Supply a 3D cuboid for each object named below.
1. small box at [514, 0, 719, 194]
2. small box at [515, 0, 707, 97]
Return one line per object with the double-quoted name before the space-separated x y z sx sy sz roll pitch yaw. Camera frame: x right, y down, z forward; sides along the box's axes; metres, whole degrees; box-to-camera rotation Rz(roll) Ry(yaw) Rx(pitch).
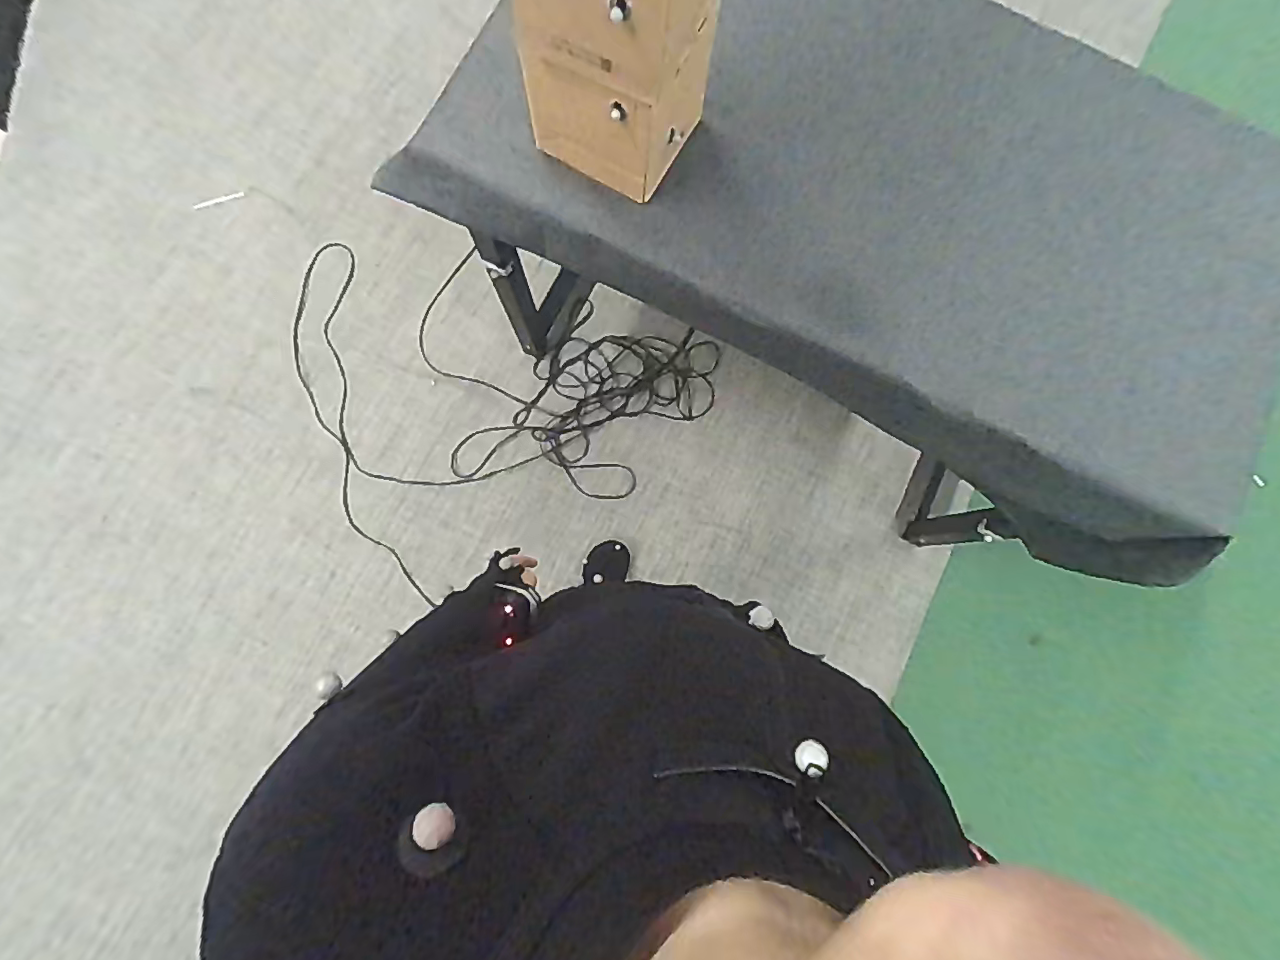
"small box" -0.028 -0.501 0.673 0.179 0.176 0.168 29 80 2
"small box" -0.018 -0.520 0.512 0.168 0.176 0.179 24 79 0
